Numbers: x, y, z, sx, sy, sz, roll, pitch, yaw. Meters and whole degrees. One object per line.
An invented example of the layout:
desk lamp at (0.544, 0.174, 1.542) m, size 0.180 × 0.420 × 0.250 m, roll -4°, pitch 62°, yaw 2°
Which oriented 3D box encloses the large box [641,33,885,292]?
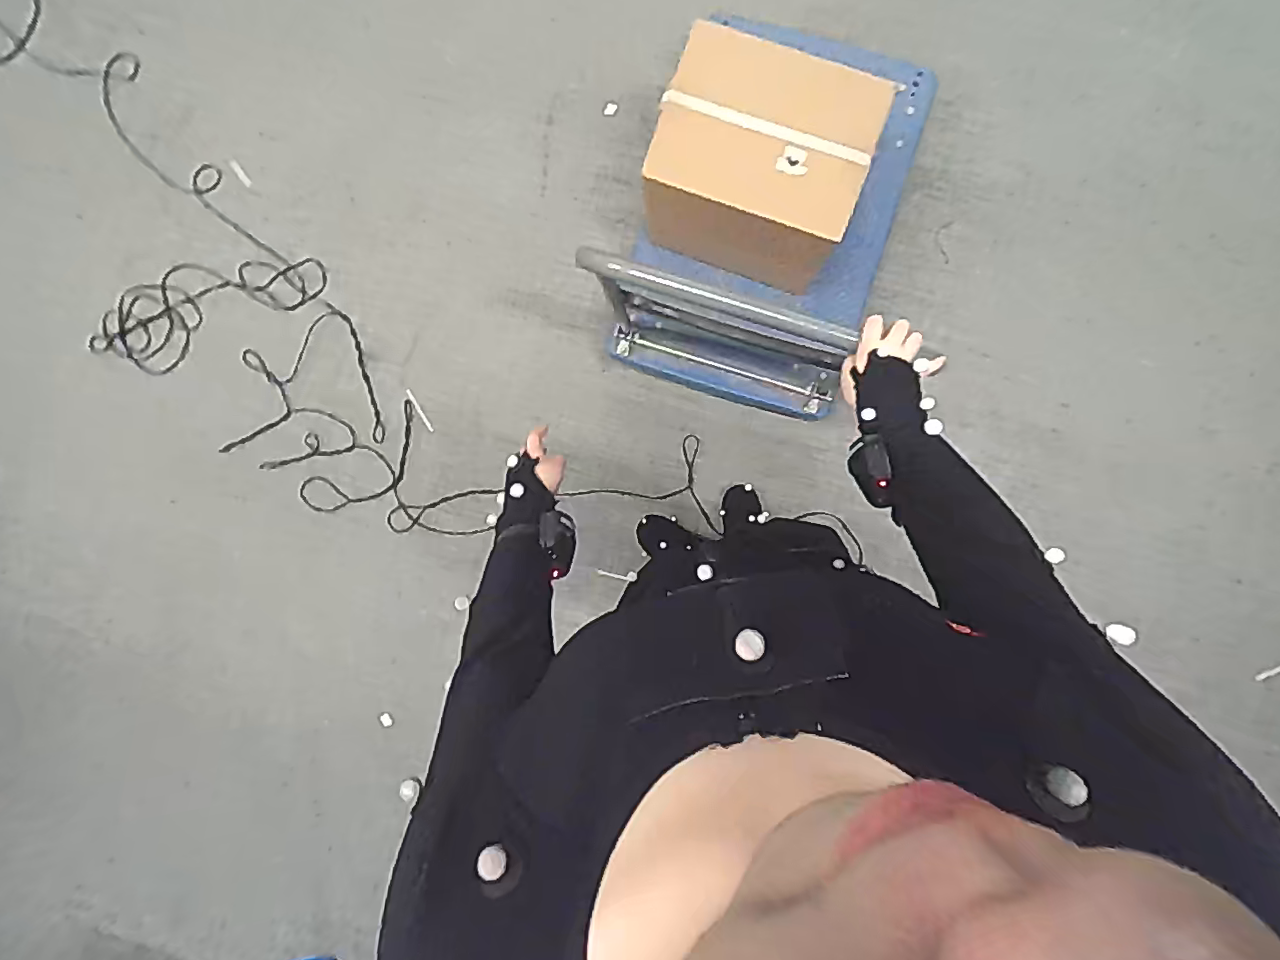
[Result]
large box at (0.240, -0.665, 1.191) m, size 0.408 × 0.320 × 0.320 m, roll 20°, pitch 92°, yaw 2°
